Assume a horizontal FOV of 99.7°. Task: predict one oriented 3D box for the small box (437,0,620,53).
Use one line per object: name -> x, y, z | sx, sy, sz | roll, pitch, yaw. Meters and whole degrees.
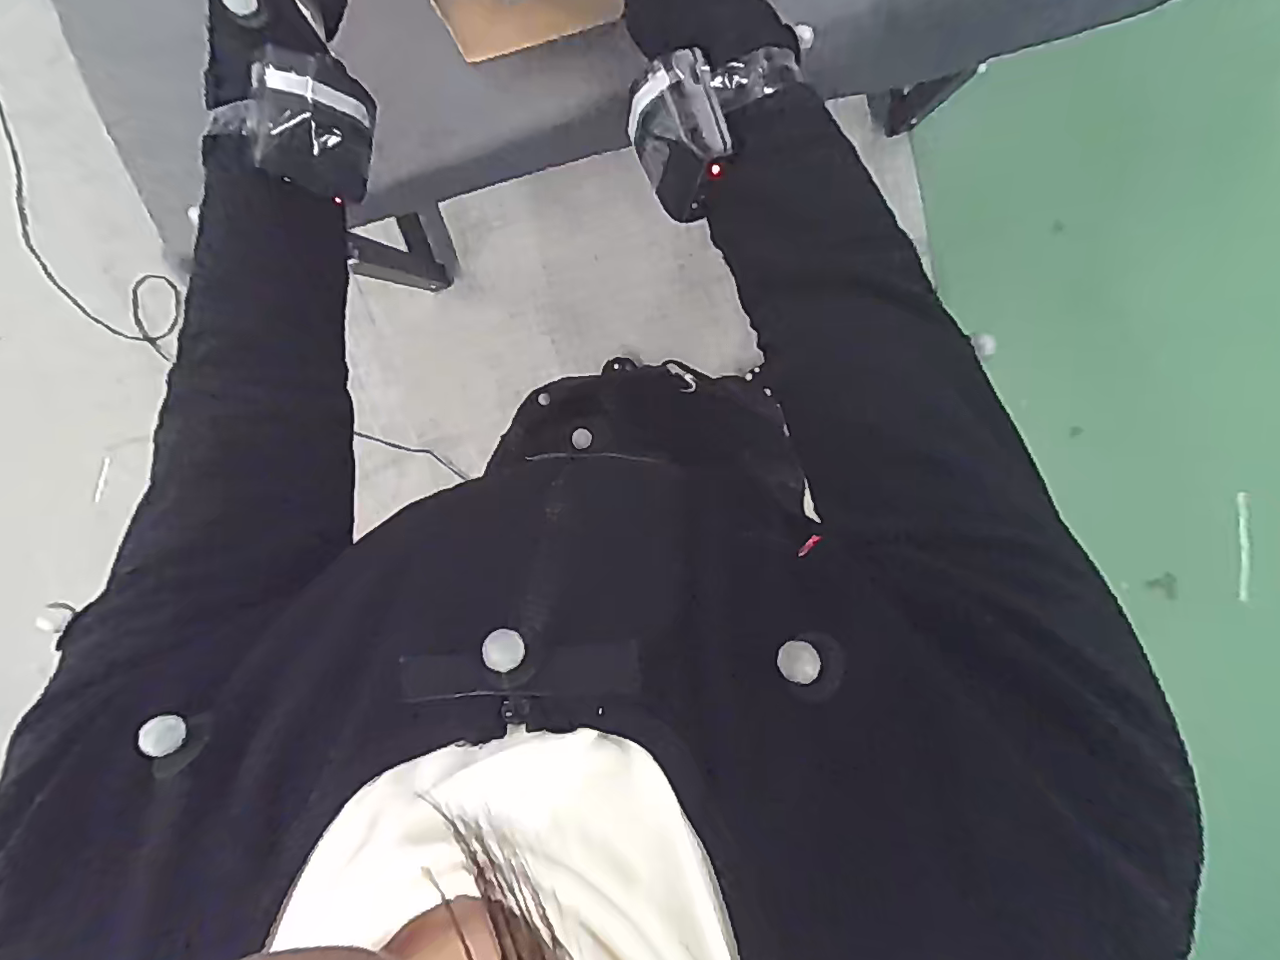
small box -> -0.119, -0.522, 0.472 | 0.179, 0.176, 0.168 | -13, 102, 4
